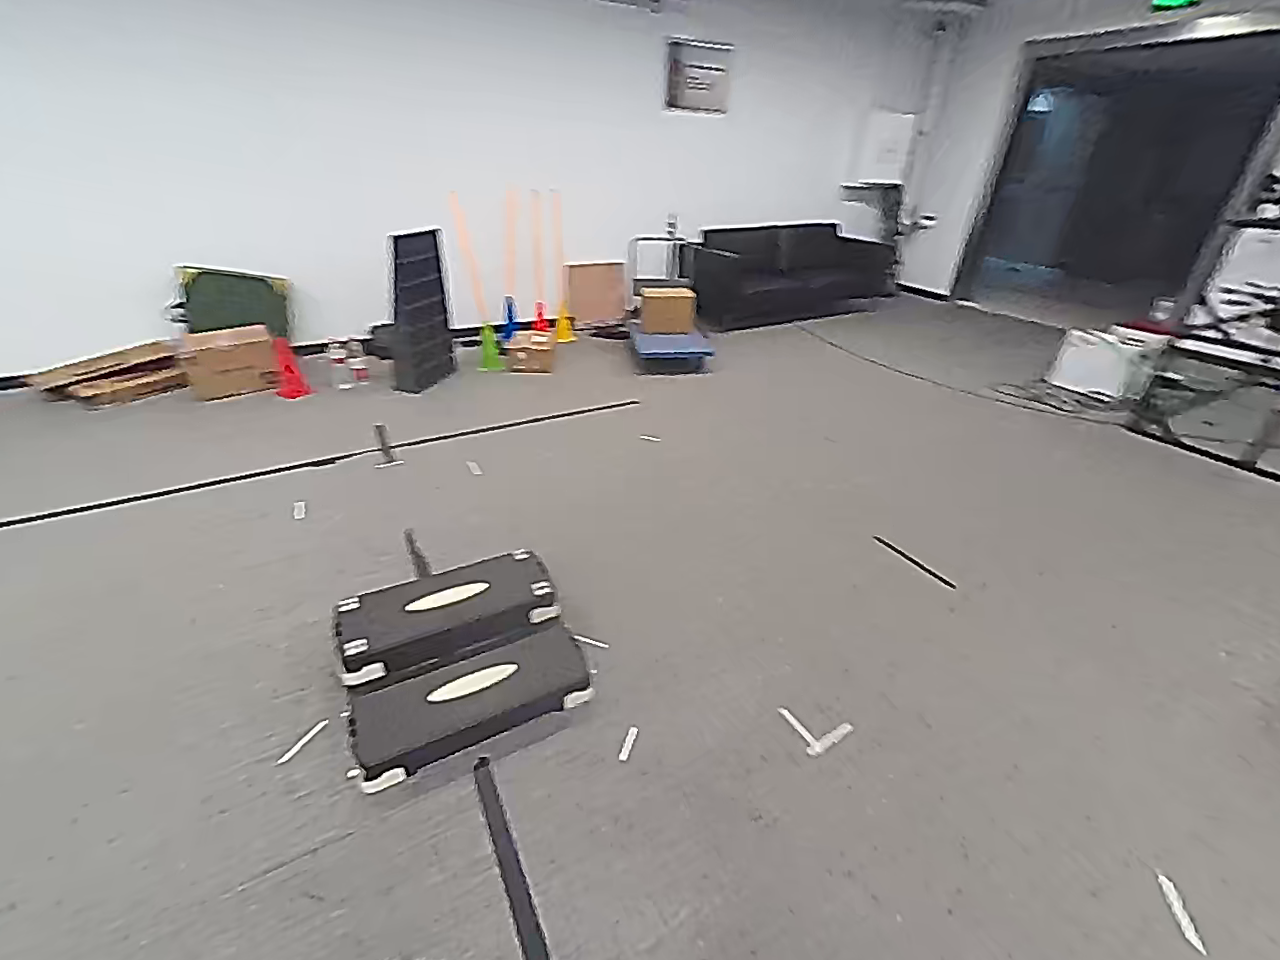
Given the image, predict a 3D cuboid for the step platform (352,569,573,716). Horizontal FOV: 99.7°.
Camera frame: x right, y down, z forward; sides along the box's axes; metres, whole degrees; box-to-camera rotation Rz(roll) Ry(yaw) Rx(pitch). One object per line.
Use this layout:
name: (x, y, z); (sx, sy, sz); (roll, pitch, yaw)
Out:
step platform: (-0.574, 0.514, 1.799); (0.684, 0.204, 0.286); (-11, 31, -22)
